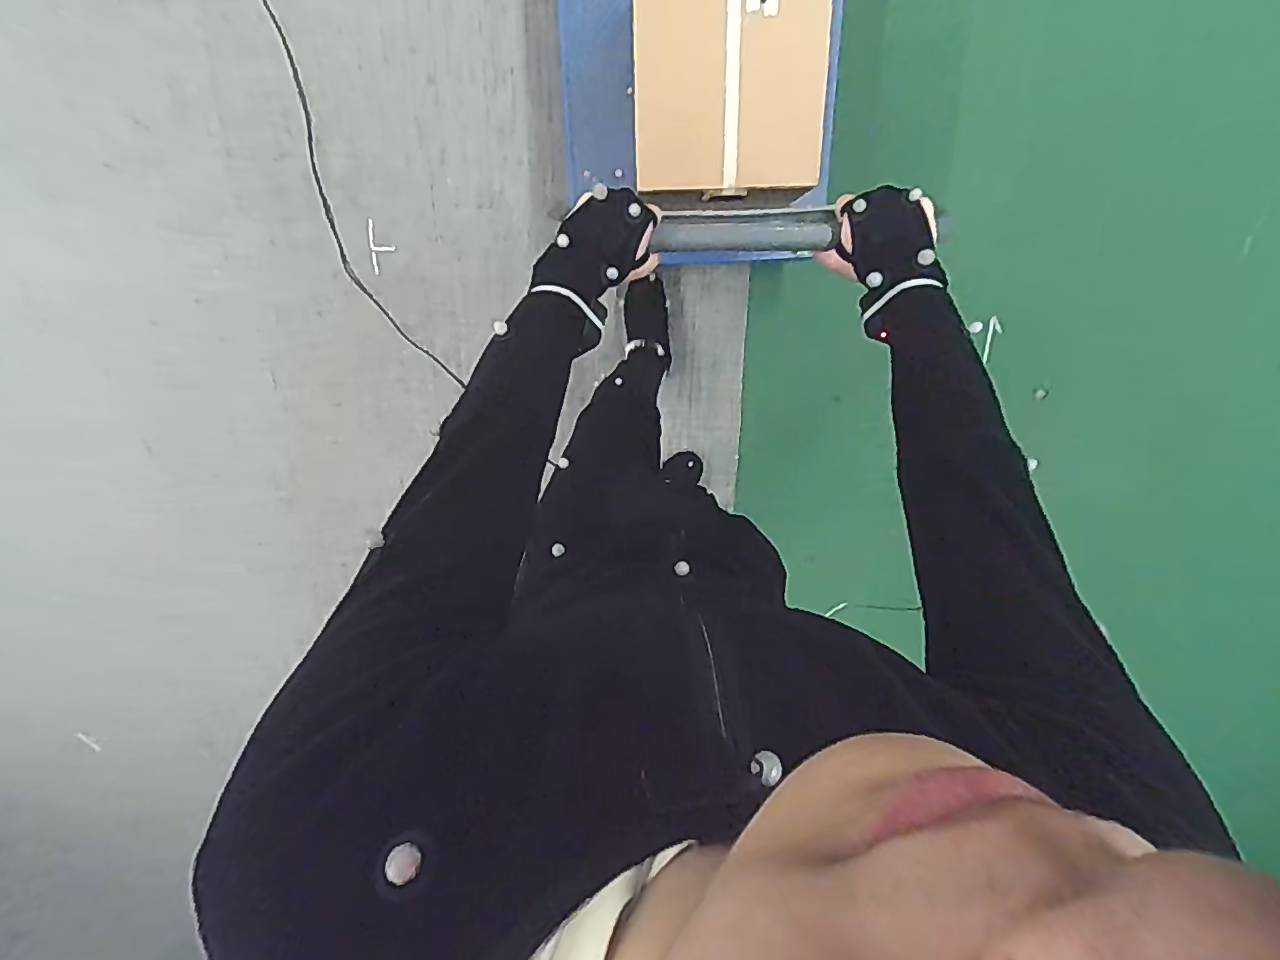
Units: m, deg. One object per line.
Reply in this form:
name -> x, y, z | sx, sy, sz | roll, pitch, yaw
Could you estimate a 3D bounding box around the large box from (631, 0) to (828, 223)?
large box -> 0.149, -0.730, 1.016 | 0.320, 0.320, 0.408 | -1, 107, 1
